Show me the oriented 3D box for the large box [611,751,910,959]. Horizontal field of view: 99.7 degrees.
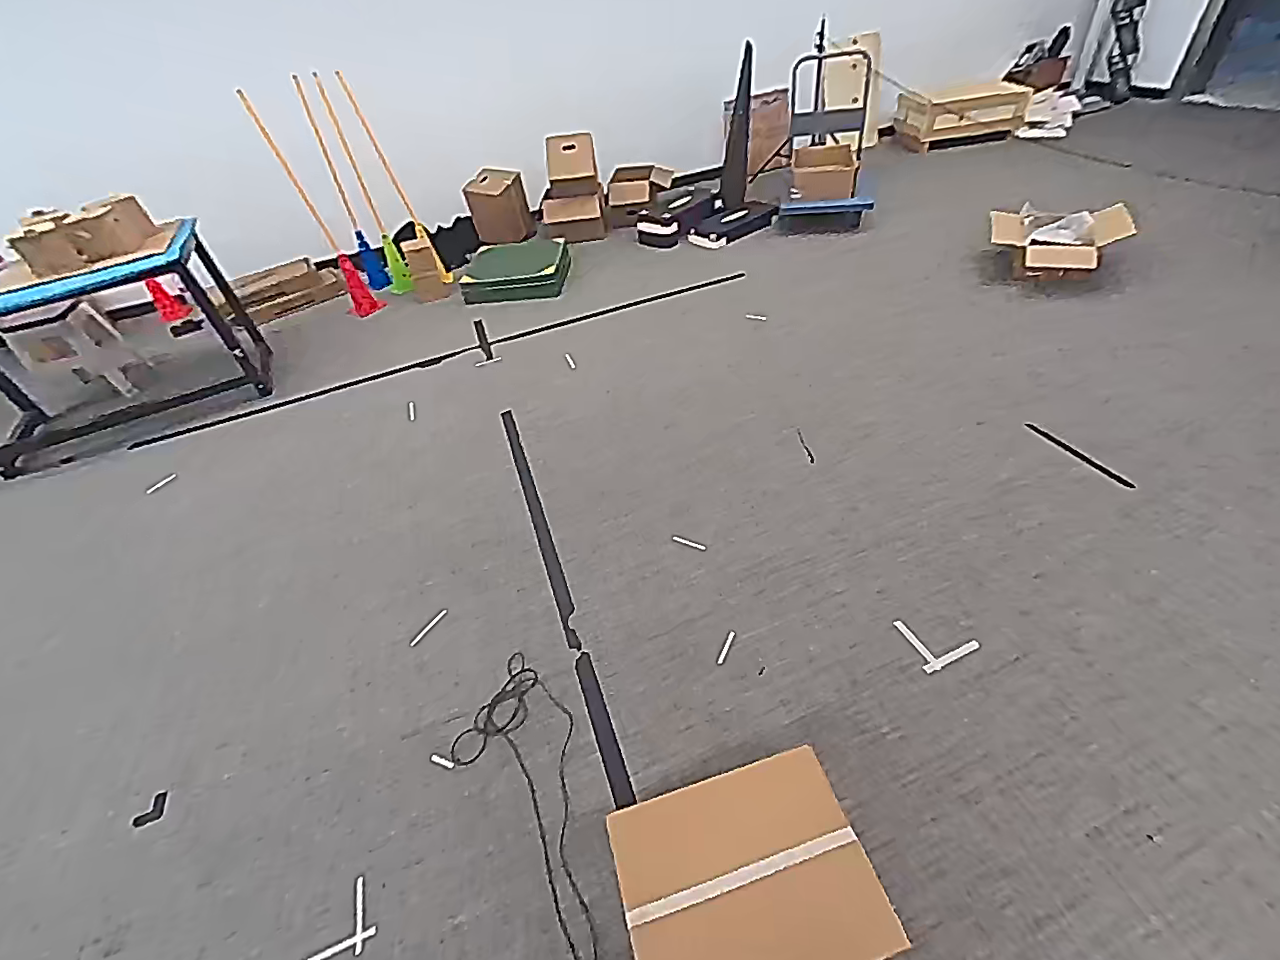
[{"bbox_3d":[0.195,0.768,0.989,0.408,0.320,0.320,-16,42,-7],"label":"large box"}]
